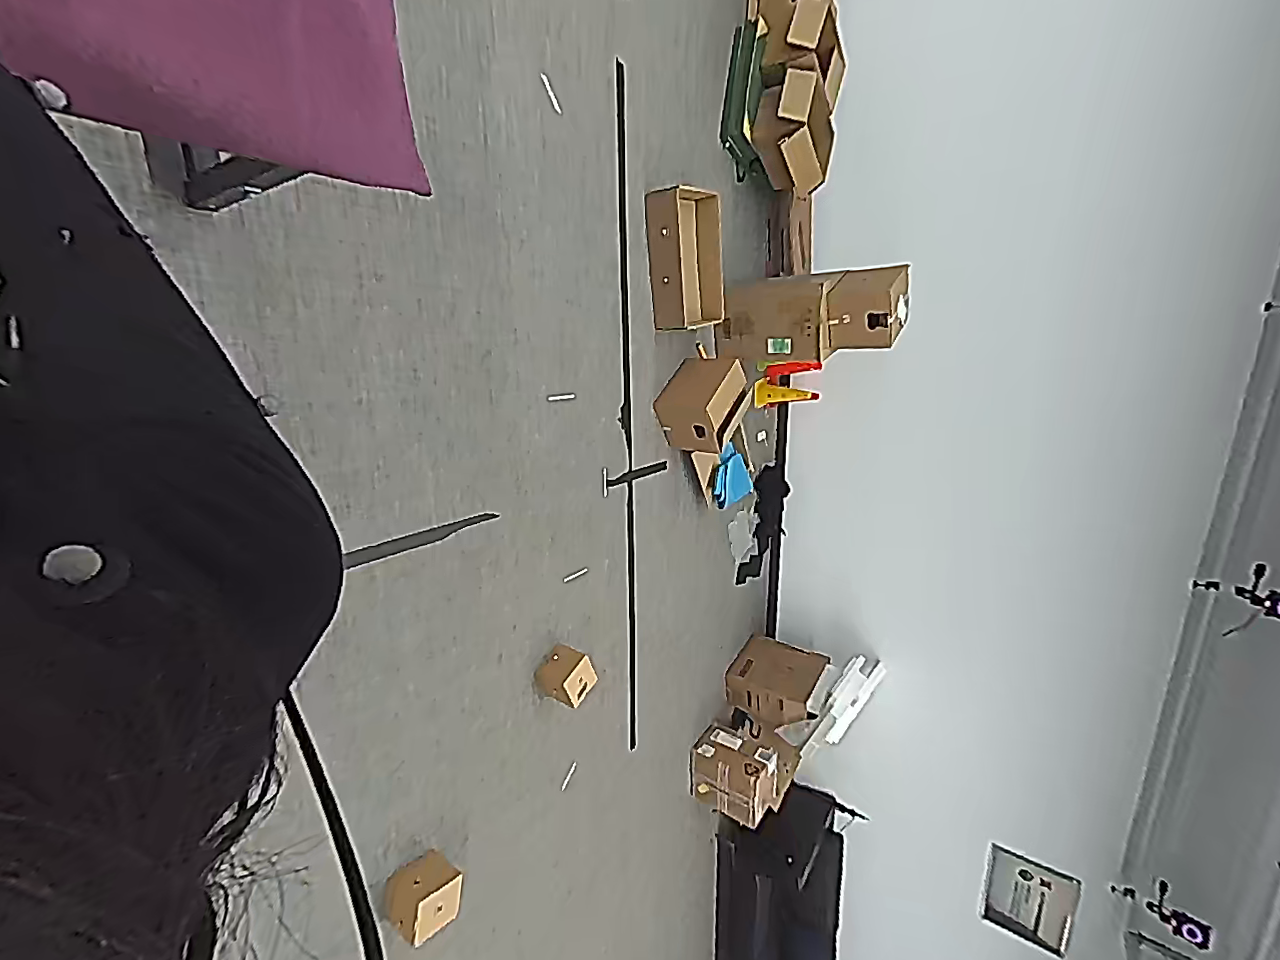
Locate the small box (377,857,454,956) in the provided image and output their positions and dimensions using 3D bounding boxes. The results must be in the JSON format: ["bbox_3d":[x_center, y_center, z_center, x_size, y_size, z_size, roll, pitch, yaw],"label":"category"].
[{"bbox_3d":[-0.772,1.451,1.853,0.179,0.176,0.168,2,98,-57],"label":"small box"}]

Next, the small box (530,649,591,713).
[{"bbox_3d":[-0.344,0.858,2.330,0.168,0.176,0.179,-46,132,-40],"label":"small box"}]
